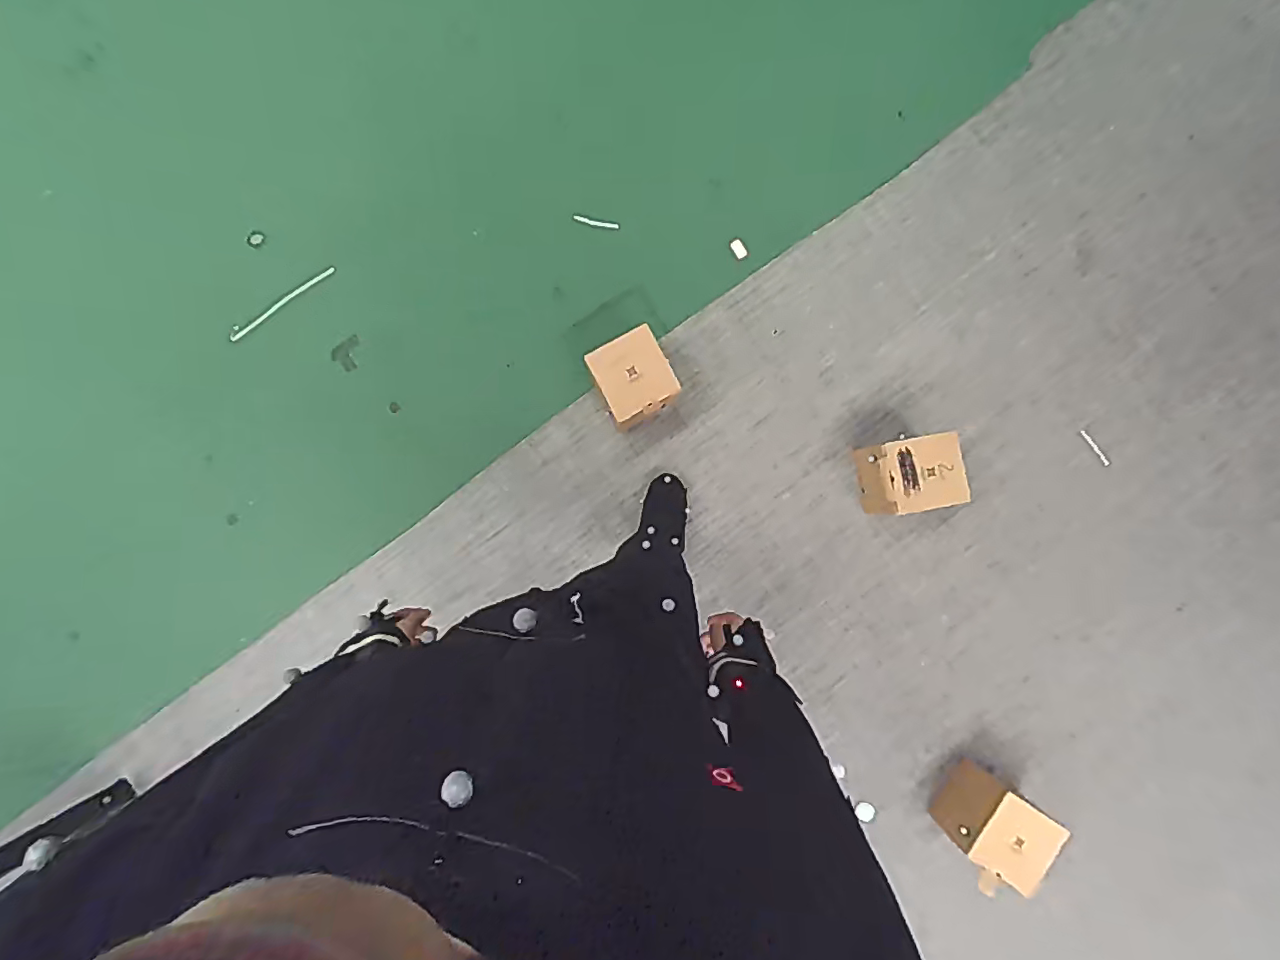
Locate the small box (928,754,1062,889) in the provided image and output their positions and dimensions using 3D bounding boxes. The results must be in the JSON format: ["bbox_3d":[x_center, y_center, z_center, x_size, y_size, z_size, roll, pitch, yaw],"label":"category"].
[{"bbox_3d":[0.827,0.795,1.280,0.168,0.176,0.179,33,90,0],"label":"small box"}]

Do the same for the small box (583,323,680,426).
[{"bbox_3d":[-0.019,-0.242,1.294,0.168,0.176,0.179,-29,89,-2],"label":"small box"}]
